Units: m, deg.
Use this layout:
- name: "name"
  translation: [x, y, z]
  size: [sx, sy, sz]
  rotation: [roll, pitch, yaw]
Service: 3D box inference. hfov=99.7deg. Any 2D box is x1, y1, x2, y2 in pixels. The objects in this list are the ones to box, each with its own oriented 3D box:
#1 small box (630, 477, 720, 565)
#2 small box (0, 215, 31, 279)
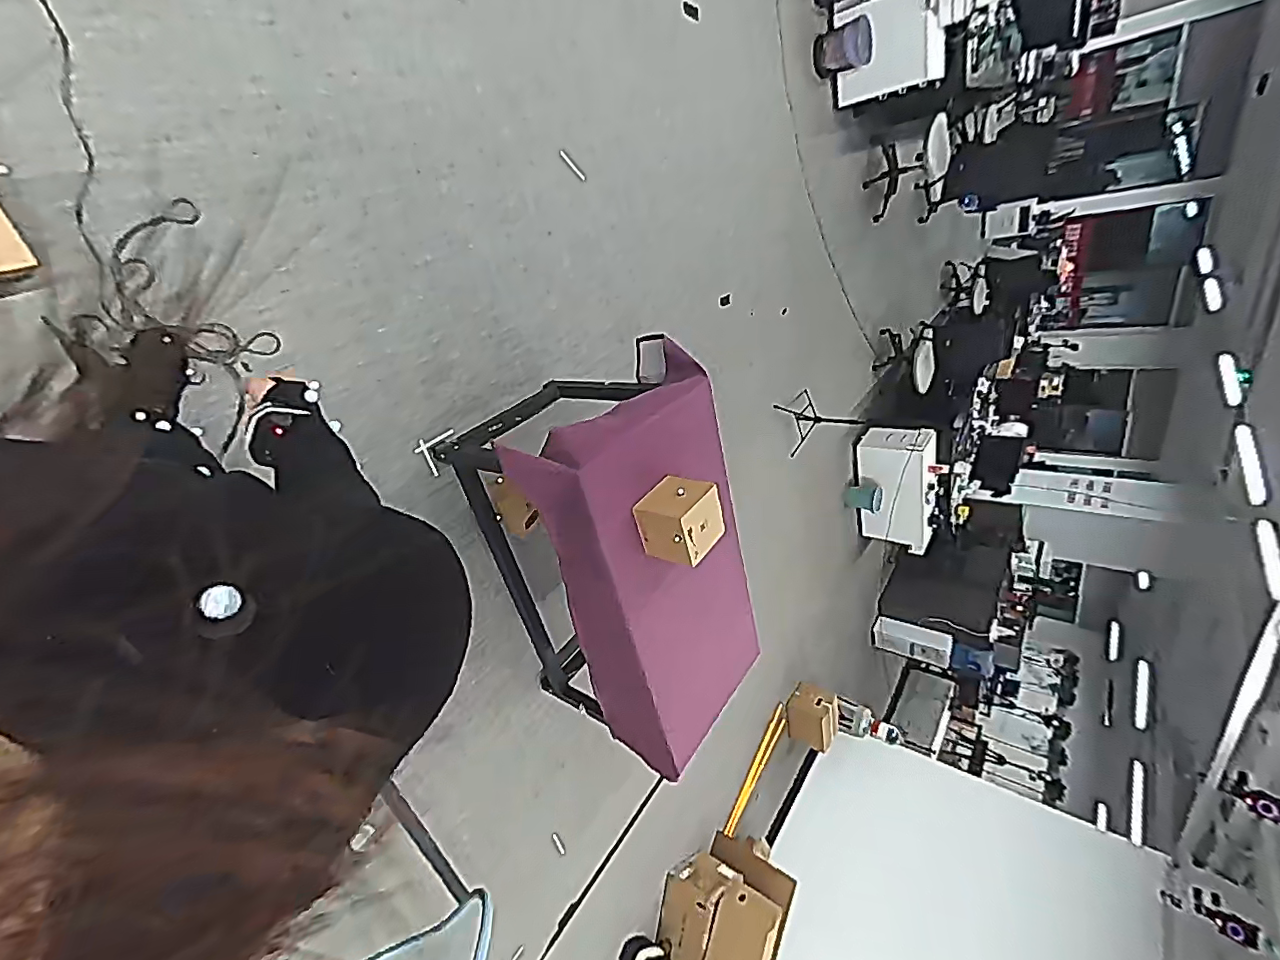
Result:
- name: "small box"
  translation: [0.098, 0.108, 1.511]
  size: [0.179, 0.176, 0.168]
  rotation: [-42, 128, -38]
- name: "small box"
  translation: [-1.225, -0.439, 0.935]
  size: [0.168, 0.176, 0.179]
  rotation: [-38, 125, -39]
